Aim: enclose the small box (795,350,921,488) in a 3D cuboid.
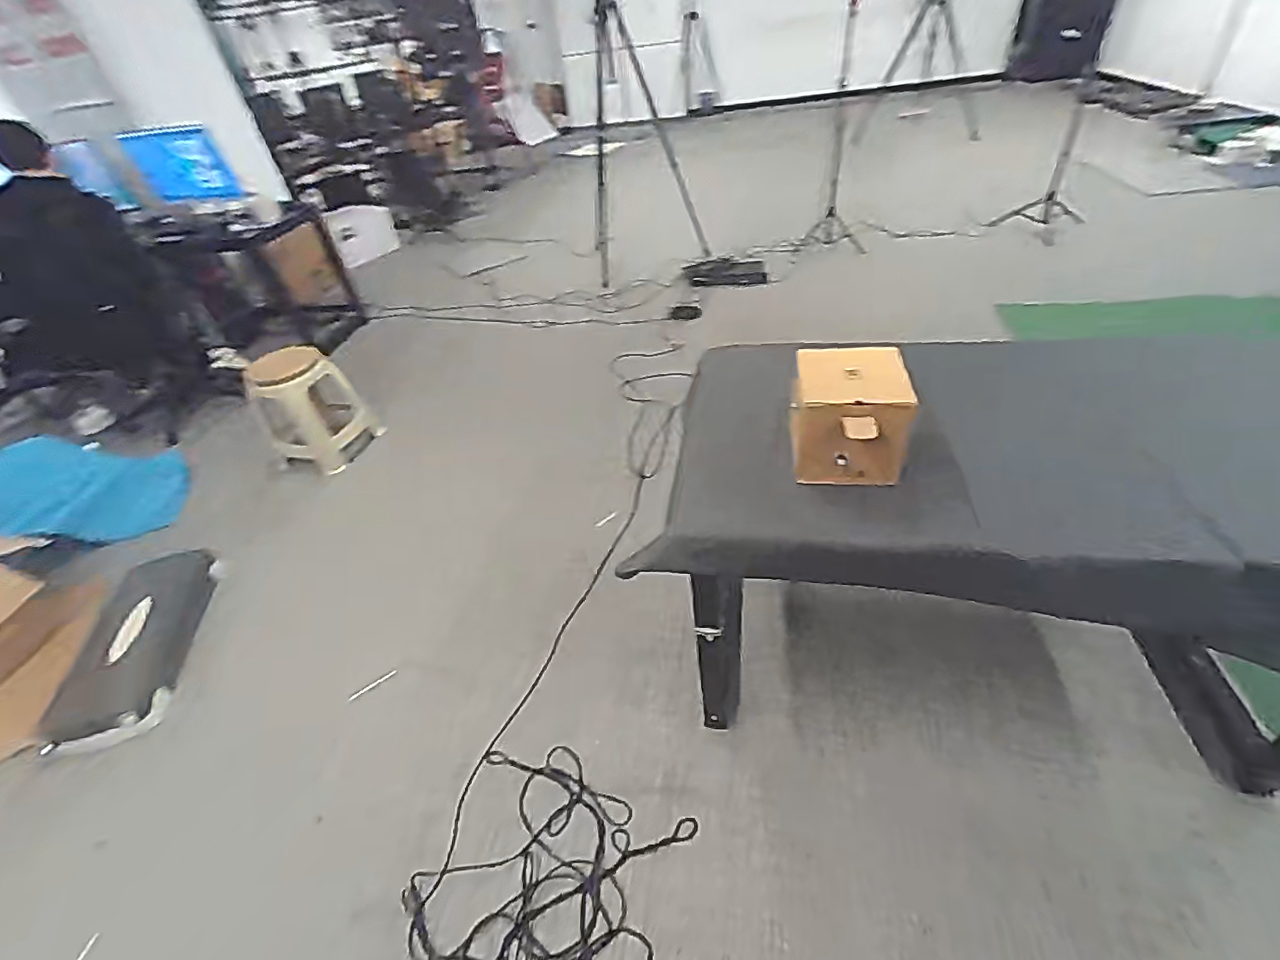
[{"bbox_3d":[0.362,-0.108,0.934,0.168,0.176,0.179,2,42,11],"label":"small box"}]
